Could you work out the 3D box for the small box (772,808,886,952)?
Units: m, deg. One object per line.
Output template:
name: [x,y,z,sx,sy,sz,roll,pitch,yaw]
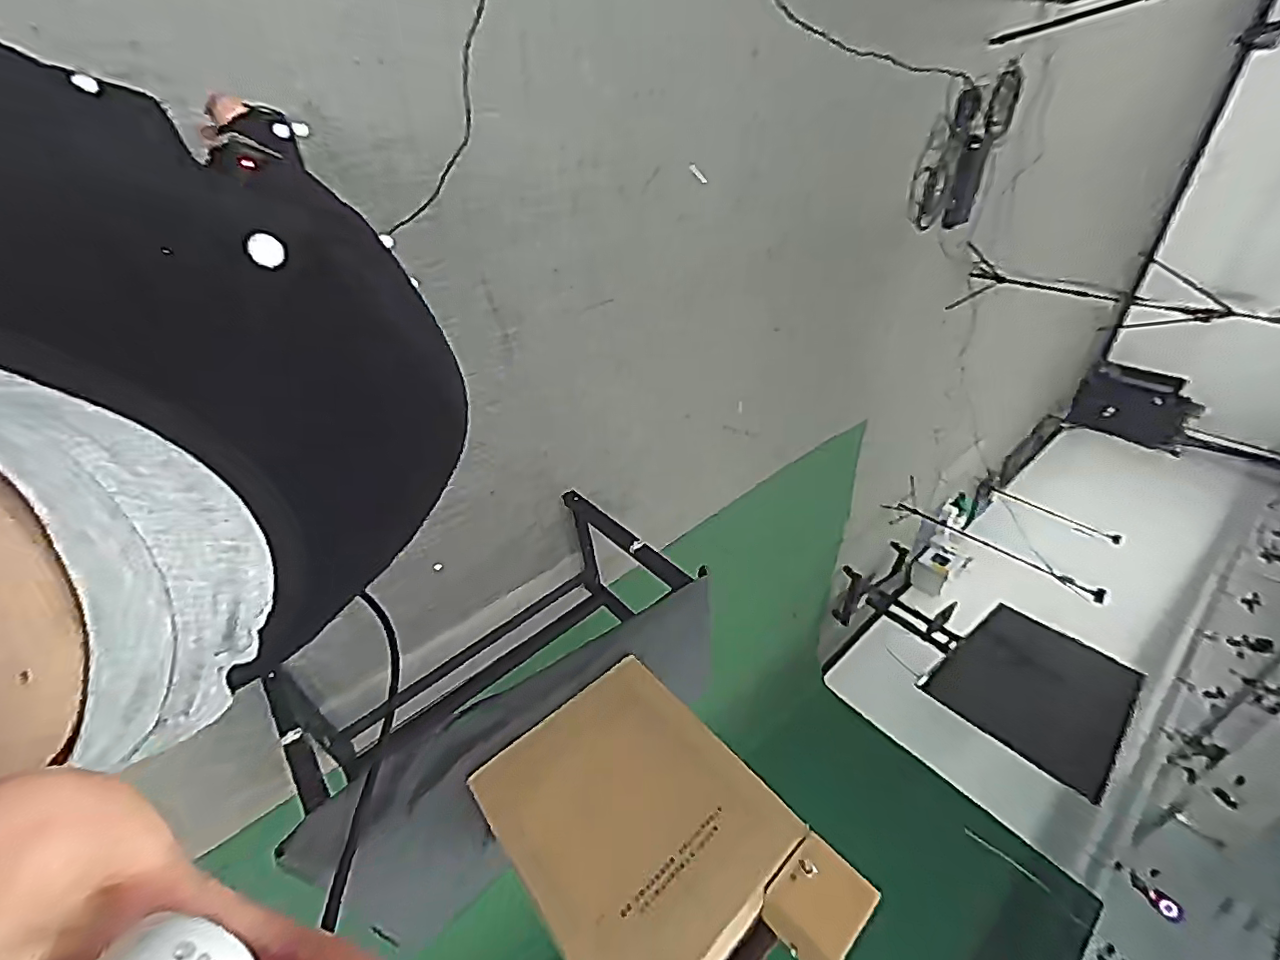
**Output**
small box: [0.406,0.868,1.185,0.168,0.176,0.179,-34,135,-30]
